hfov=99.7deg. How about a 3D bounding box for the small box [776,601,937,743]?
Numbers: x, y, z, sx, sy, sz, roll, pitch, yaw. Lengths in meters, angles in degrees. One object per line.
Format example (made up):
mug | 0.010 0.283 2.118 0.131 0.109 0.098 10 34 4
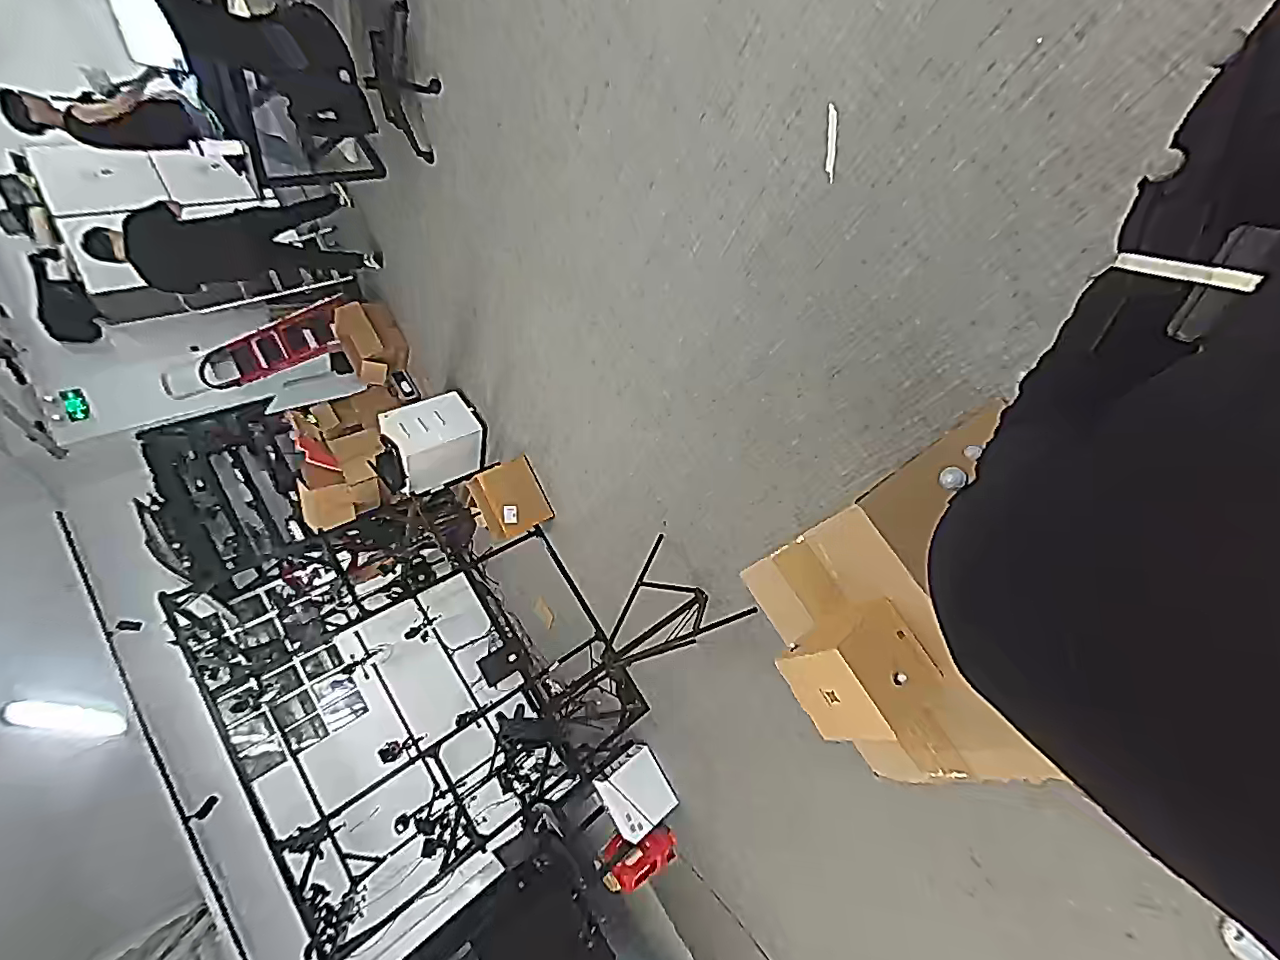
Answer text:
small box | 0.383 0.333 0.947 0.168 0.176 0.179 57 148 9
